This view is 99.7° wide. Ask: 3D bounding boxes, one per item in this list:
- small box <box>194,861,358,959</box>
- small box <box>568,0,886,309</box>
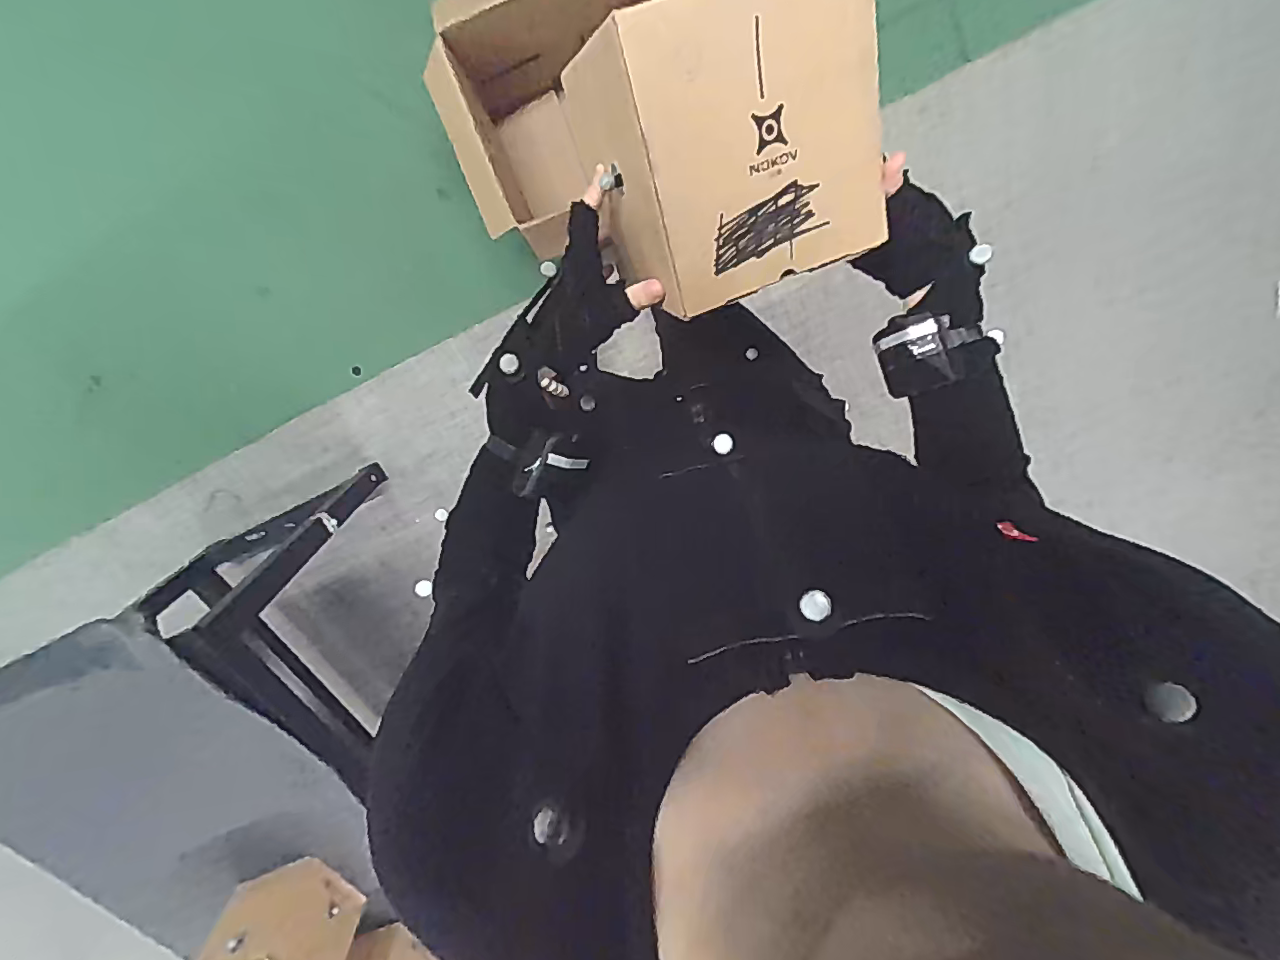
[{"bbox_3d":[-0.651,0.833,0.966,0.179,0.176,0.168,-26,111,7],"label":"small box"},{"bbox_3d":[0.059,-0.254,0.412,0.168,0.176,0.179,-23,120,-7],"label":"small box"}]
